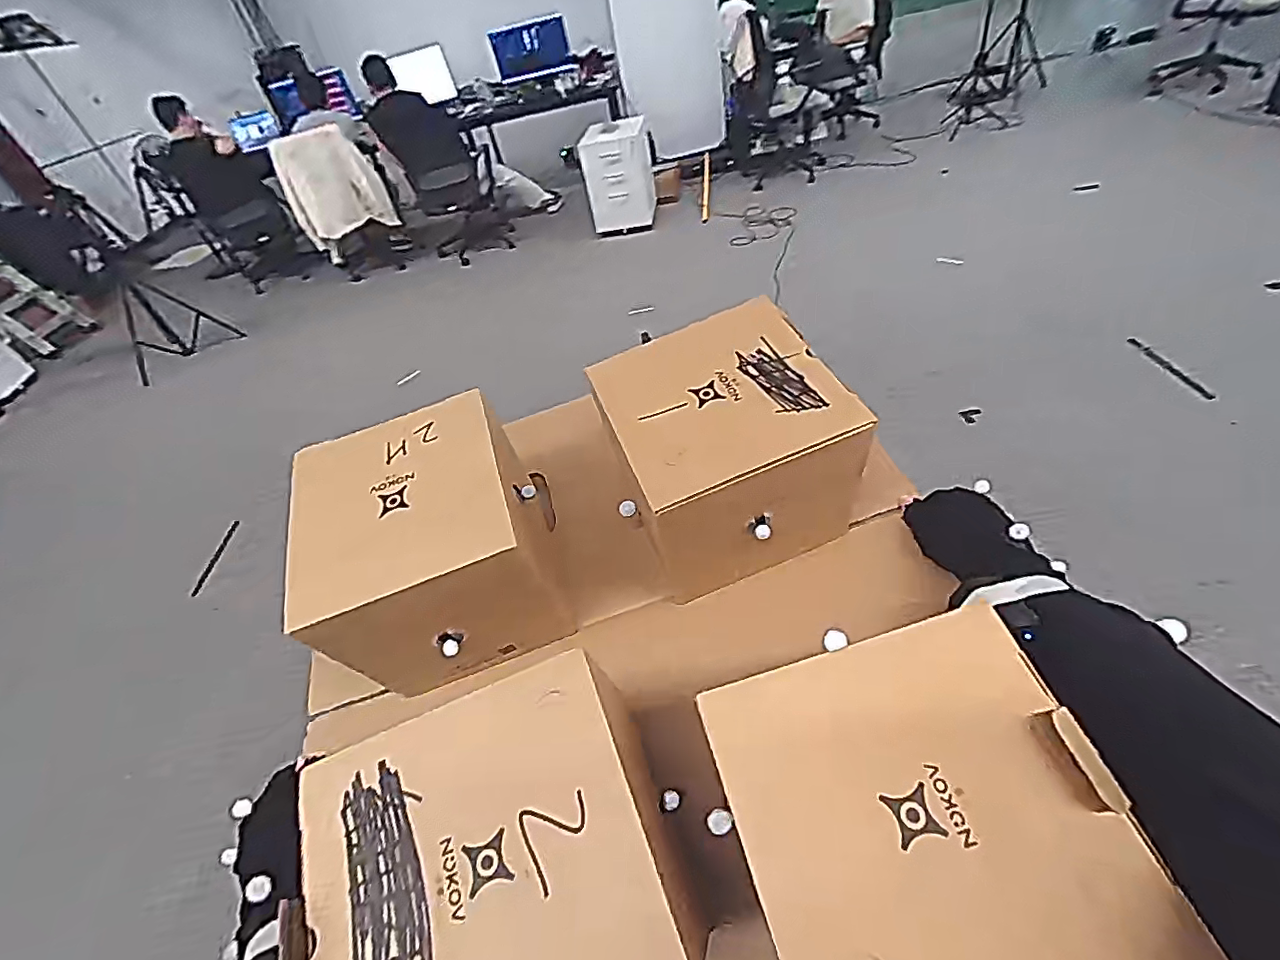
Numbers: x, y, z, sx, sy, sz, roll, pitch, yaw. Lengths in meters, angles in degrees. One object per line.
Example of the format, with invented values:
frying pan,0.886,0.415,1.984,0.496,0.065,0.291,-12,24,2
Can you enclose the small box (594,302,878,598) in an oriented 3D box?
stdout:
small box,0.078,-0.021,0.487,0.179,0.176,0.168,-22,54,-3

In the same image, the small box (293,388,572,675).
small box,-0.171,0.056,0.483,0.168,0.176,0.179,-19,53,-4
